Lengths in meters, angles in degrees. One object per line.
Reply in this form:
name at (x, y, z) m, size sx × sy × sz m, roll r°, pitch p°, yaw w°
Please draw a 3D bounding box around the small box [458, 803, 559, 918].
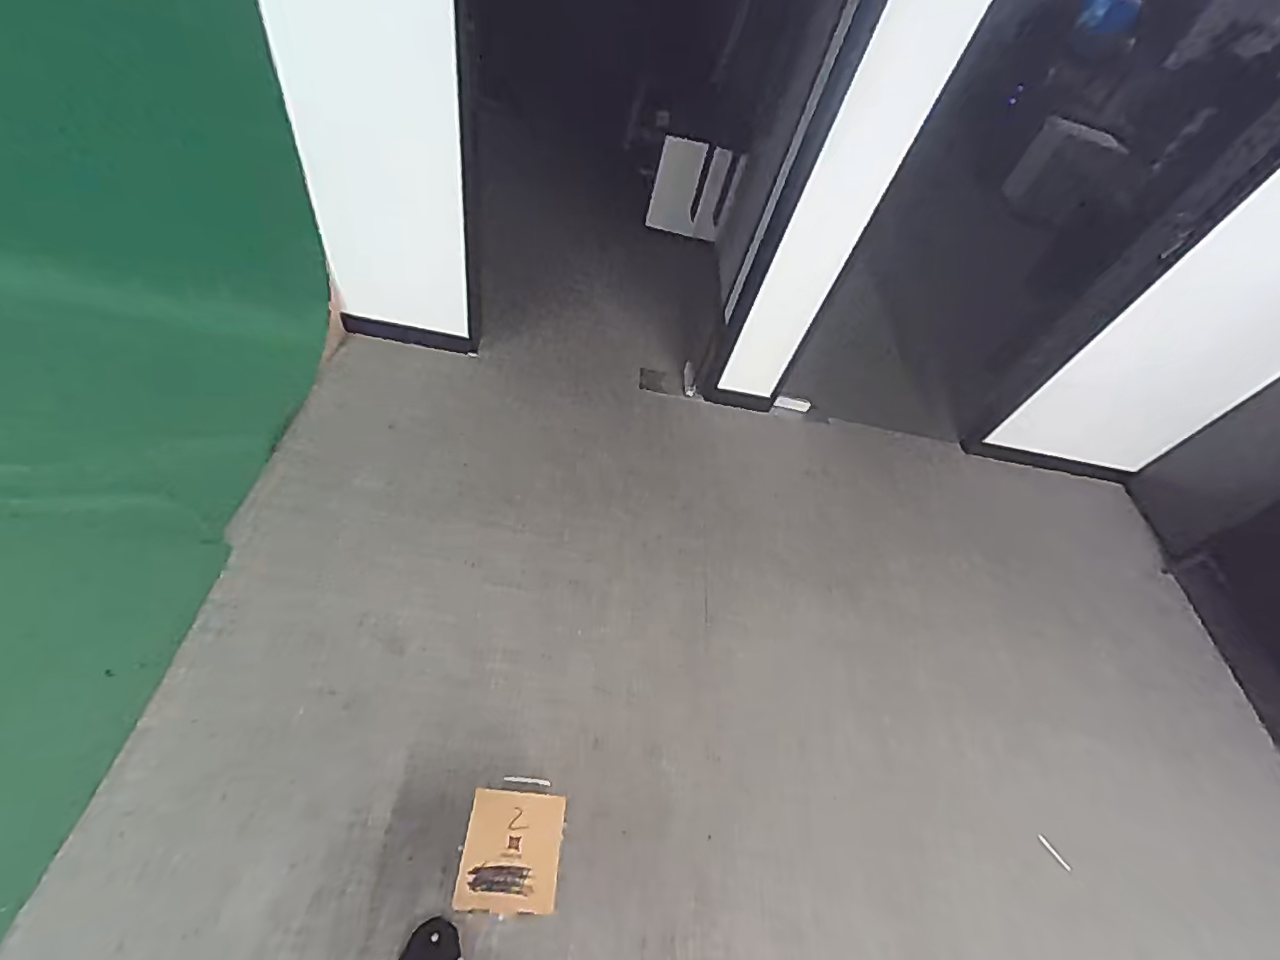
small box at (-0.271, 0.789, 1.121) m, size 0.168 × 0.176 × 0.179 m, roll 10°, pitch 52°, yaw -7°
